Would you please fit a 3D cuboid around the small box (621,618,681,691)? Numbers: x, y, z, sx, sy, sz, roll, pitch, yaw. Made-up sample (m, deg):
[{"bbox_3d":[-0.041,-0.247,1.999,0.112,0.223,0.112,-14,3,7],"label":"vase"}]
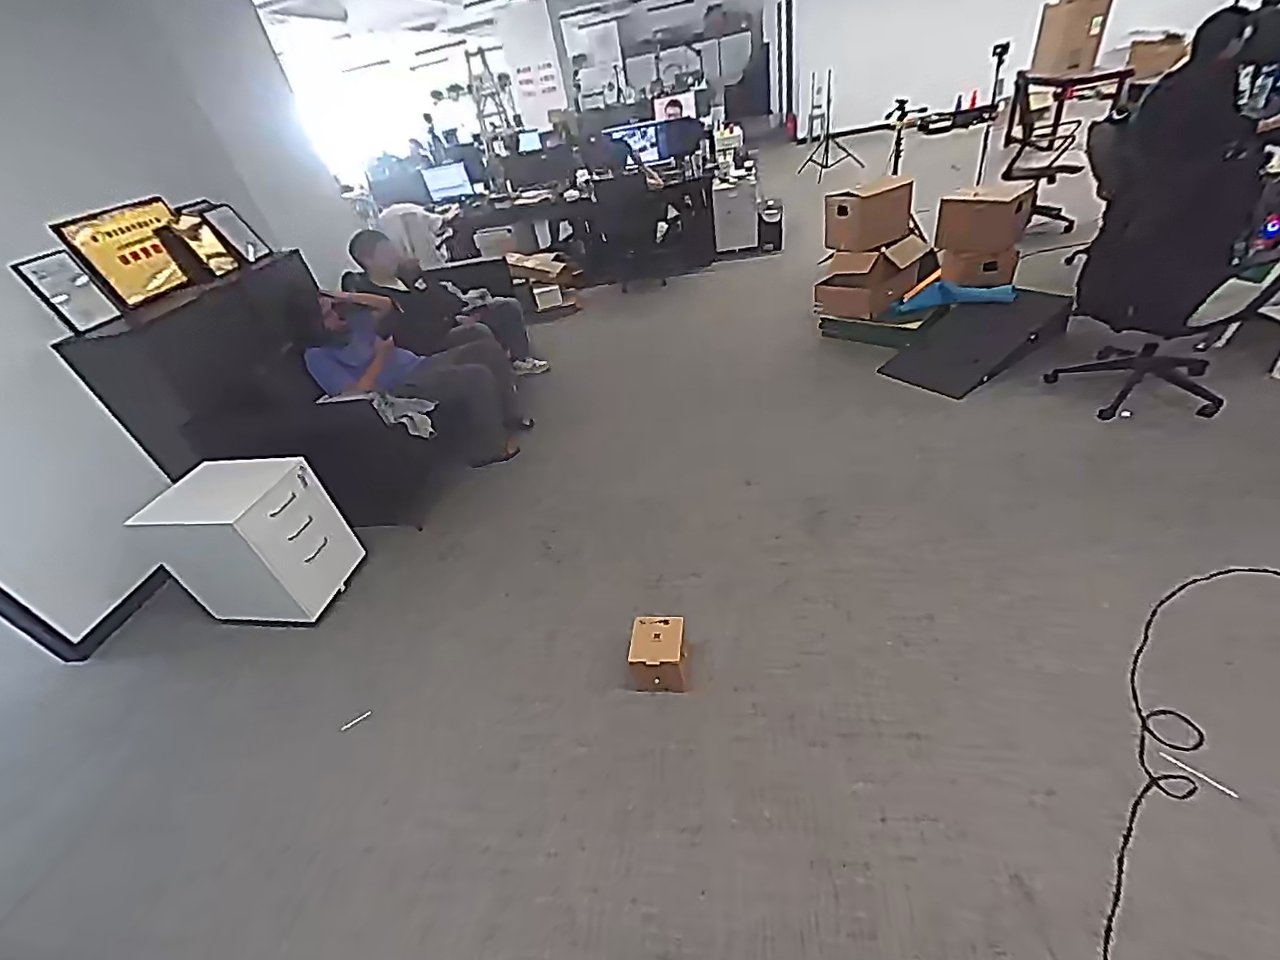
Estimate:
[{"bbox_3d":[0.043,0.579,1.783,0.168,0.176,0.179,-5,37,11],"label":"small box"}]
